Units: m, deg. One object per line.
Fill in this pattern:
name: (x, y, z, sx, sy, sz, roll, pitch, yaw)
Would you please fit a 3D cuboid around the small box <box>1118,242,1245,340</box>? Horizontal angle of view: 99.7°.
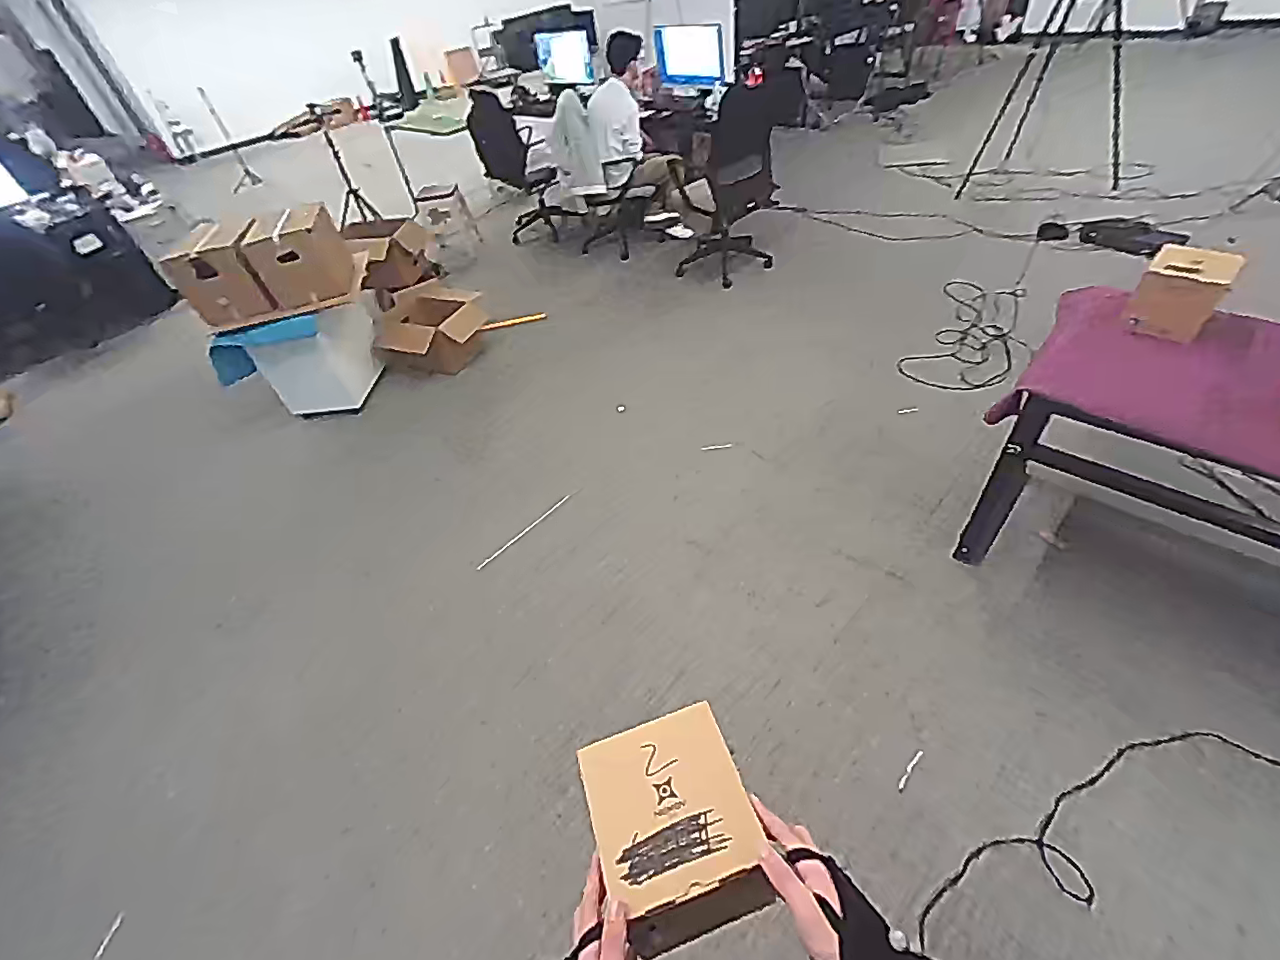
small box: (1.414, -0.496, 1.424, 0.179, 0.176, 0.168, -39, 52, -24)
